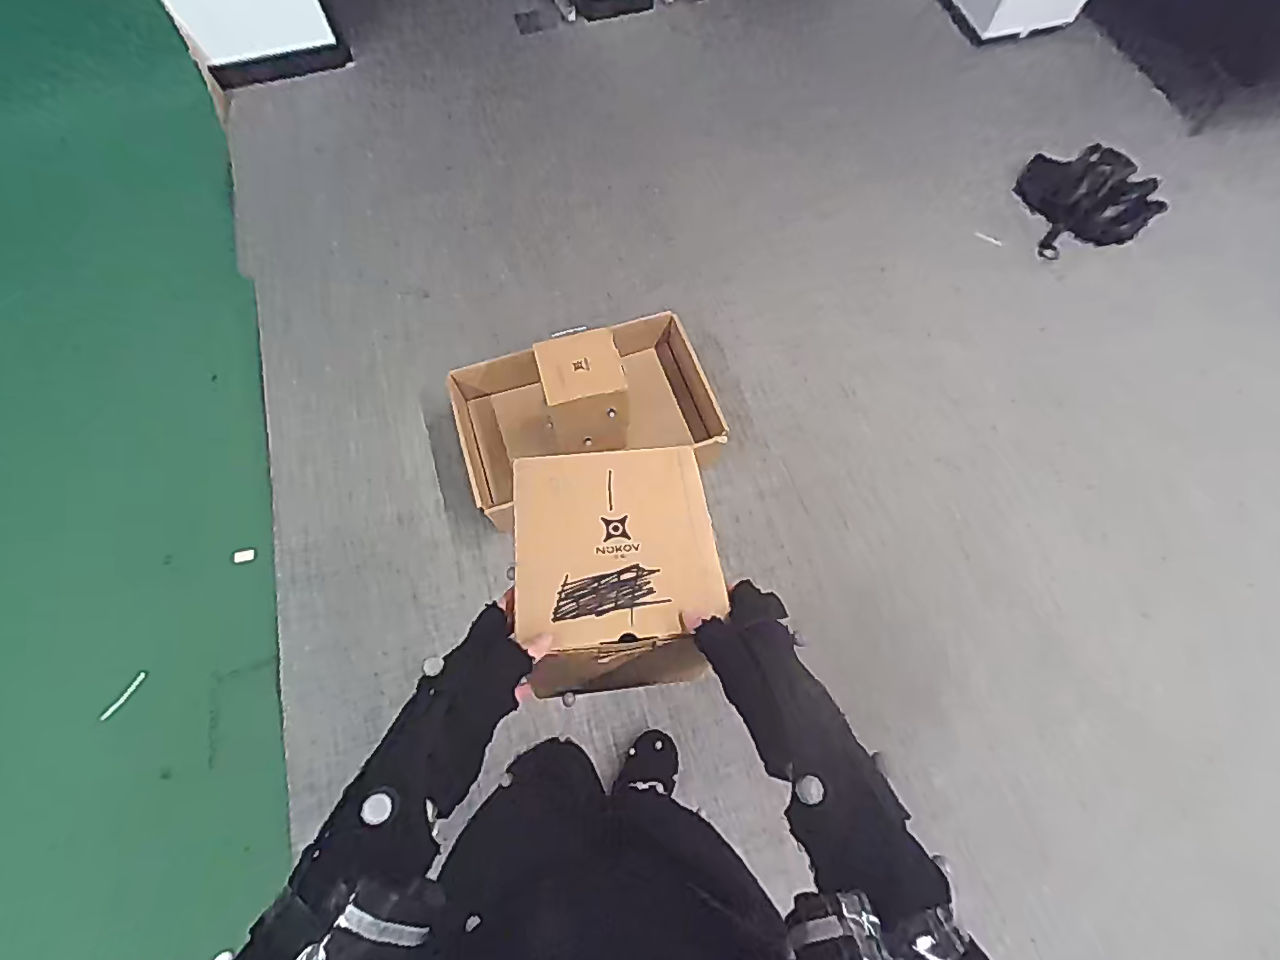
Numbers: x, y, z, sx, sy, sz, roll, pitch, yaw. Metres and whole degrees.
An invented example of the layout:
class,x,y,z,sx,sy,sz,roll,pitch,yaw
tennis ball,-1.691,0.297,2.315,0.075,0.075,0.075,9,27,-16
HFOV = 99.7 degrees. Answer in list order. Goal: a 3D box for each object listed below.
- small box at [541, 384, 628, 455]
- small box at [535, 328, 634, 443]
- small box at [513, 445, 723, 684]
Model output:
class,x,y,z,sx,sy,sz,roll,pitch,yaw
small box,-0.136,-0.161,1.387,0.179,0.176,0.168,-19,69,-8
small box,-0.122,-0.206,1.210,0.179,0.176,0.168,-18,69,-8
small box,-0.028,0.089,0.522,0.168,0.176,0.179,-5,58,-7
